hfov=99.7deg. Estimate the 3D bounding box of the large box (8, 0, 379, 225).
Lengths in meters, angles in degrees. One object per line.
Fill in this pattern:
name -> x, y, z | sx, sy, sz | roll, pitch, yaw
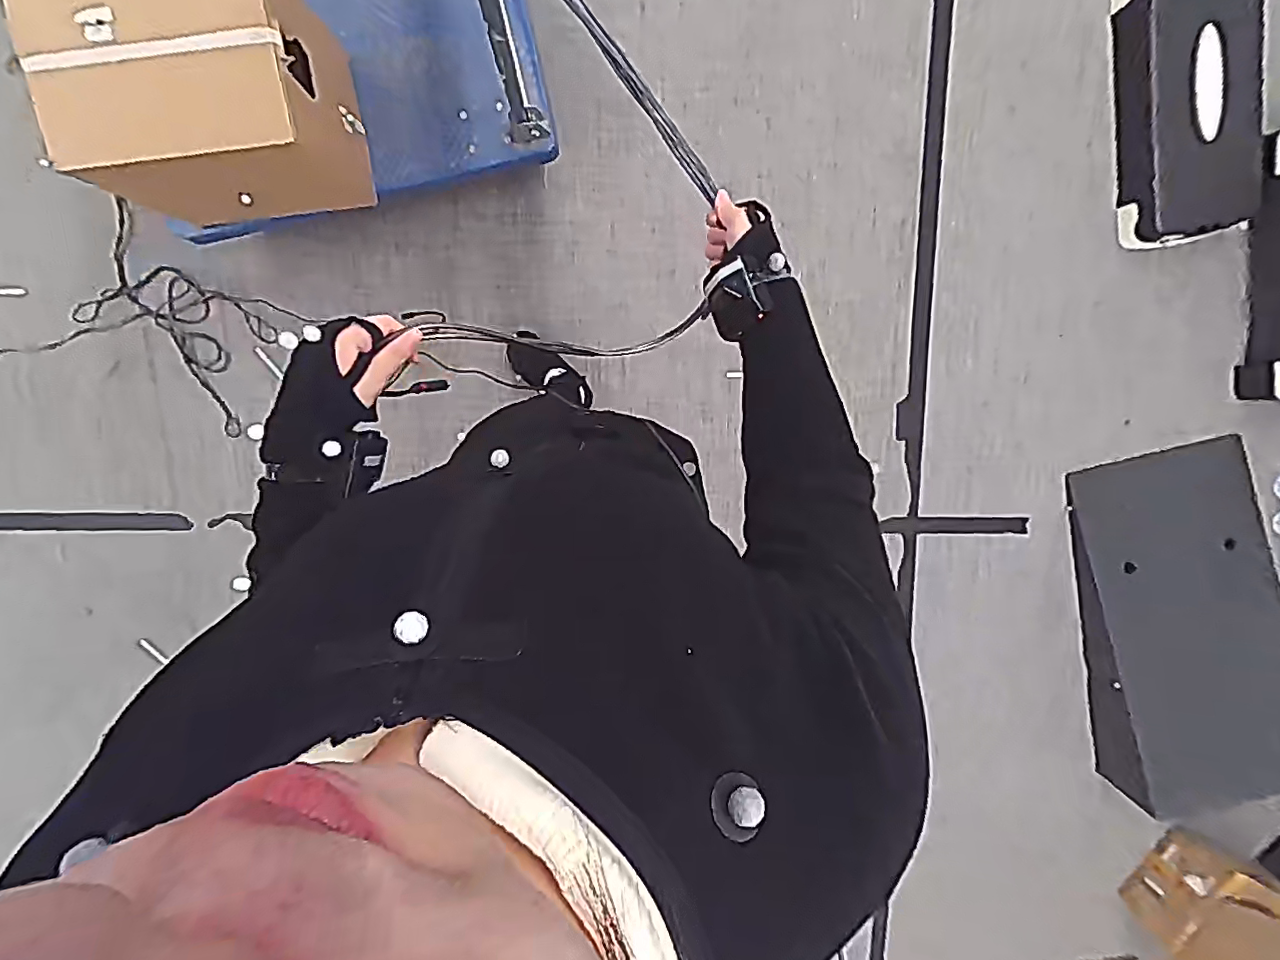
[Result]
large box -> -0.780, -0.703, 1.010 | 0.408, 0.320, 0.320 | -8, 99, 0
